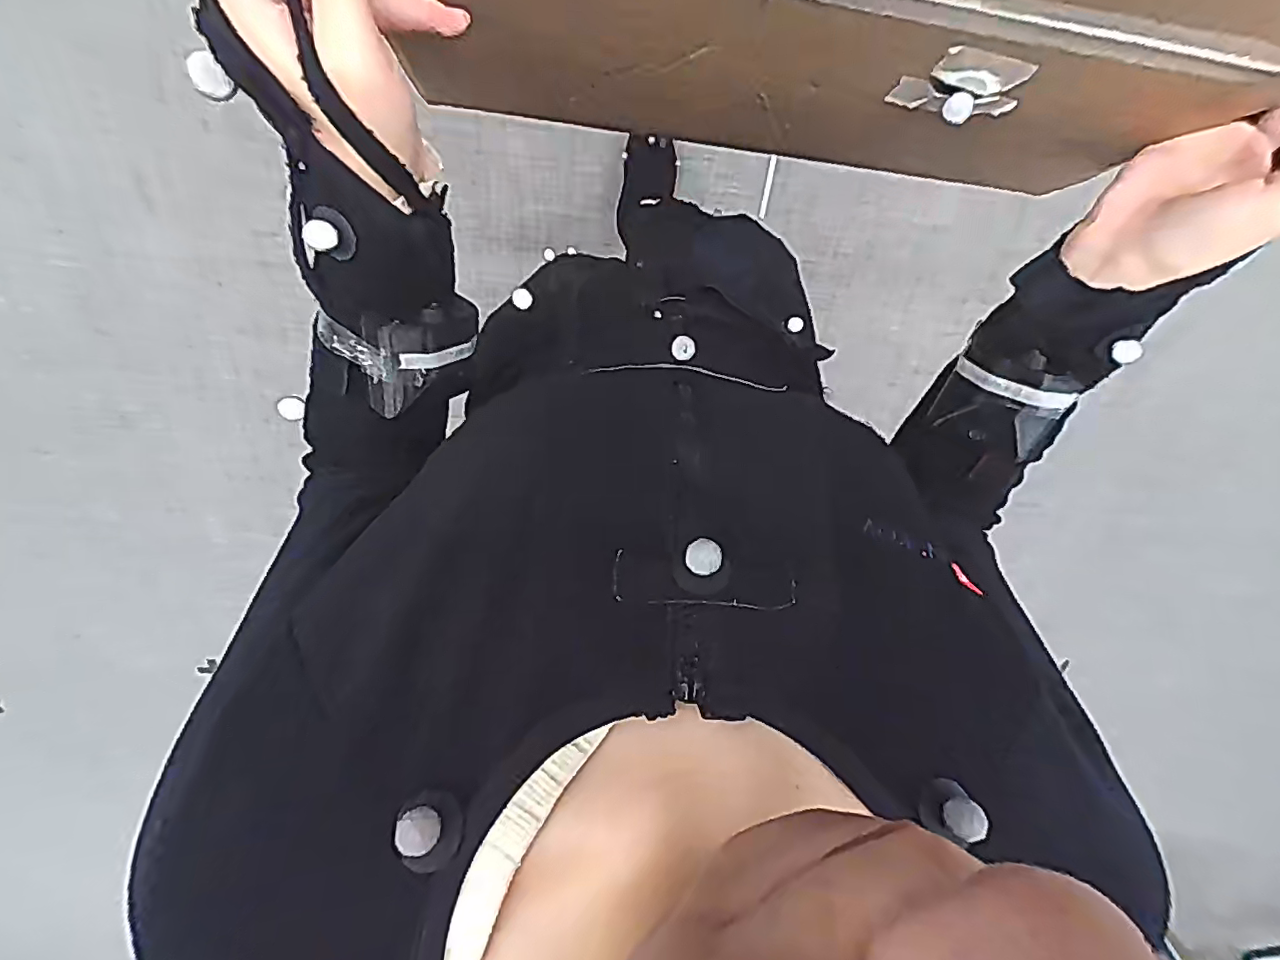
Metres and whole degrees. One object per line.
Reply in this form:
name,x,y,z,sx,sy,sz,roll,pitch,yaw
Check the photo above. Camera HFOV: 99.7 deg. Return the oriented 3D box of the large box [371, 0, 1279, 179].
large box,0.094,-0.335,0.171,0.408,0.320,0.320,4,102,-6
